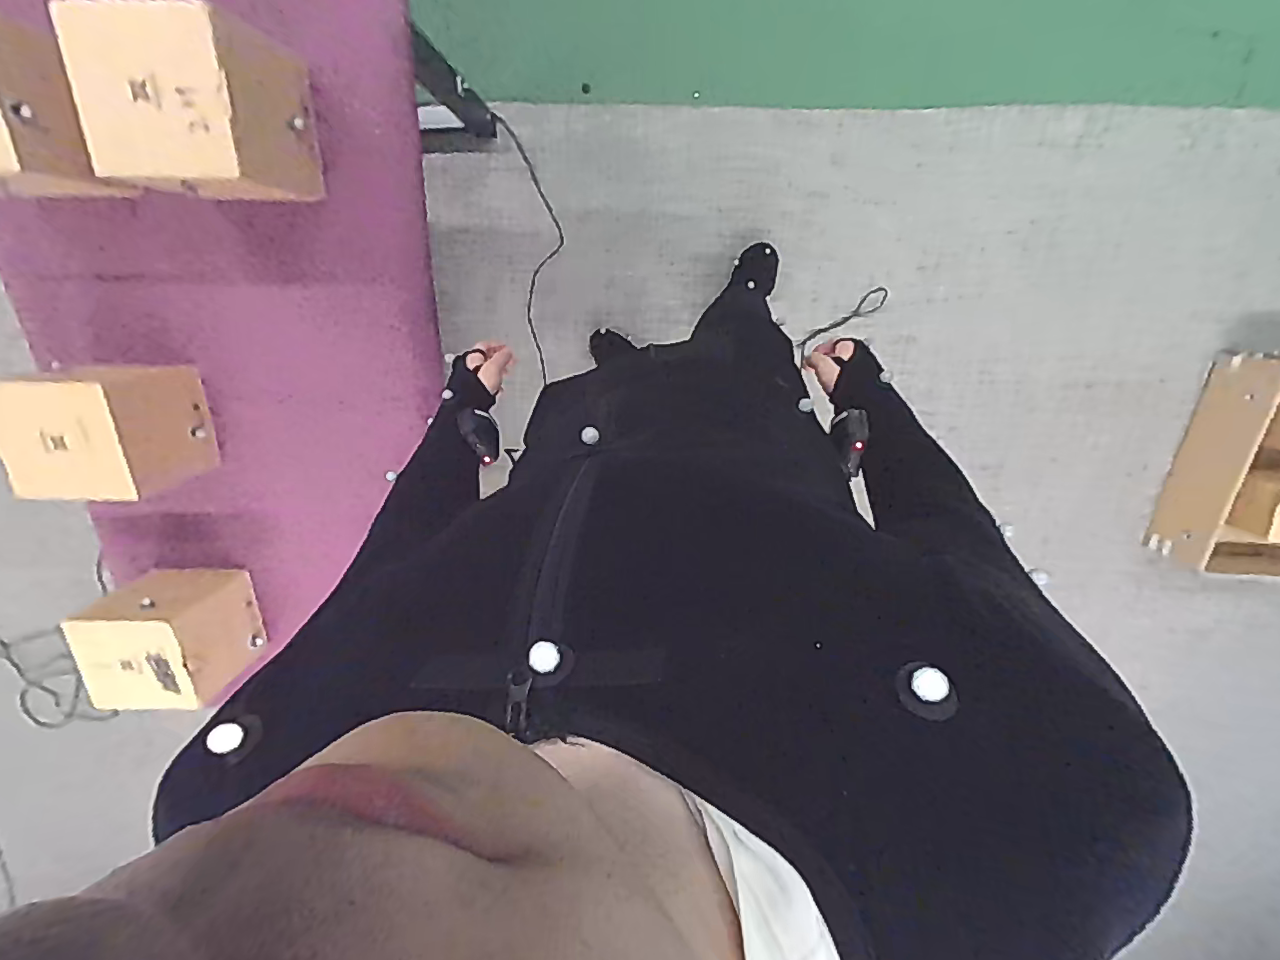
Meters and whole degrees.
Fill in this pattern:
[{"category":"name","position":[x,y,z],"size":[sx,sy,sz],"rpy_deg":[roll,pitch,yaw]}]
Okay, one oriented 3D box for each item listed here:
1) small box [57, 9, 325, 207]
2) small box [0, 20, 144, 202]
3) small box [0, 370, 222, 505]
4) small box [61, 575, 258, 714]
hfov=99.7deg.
[{"category":"small box","position":[-0.533,-0.443,0.671],"size":[0.179,0.176,0.168],"rpy_deg":[3,109,2]},{"category":"small box","position":[-0.795,-0.452,0.677],"size":[0.179,0.176,0.168],"rpy_deg":[0,109,1]},{"category":"small box","position":[-0.784,-0.070,0.806],"size":[0.179,0.176,0.168],"rpy_deg":[1,109,0]},{"category":"small box","position":[-0.789,0.271,0.916],"size":[0.179,0.176,0.168],"rpy_deg":[0,108,2]}]
